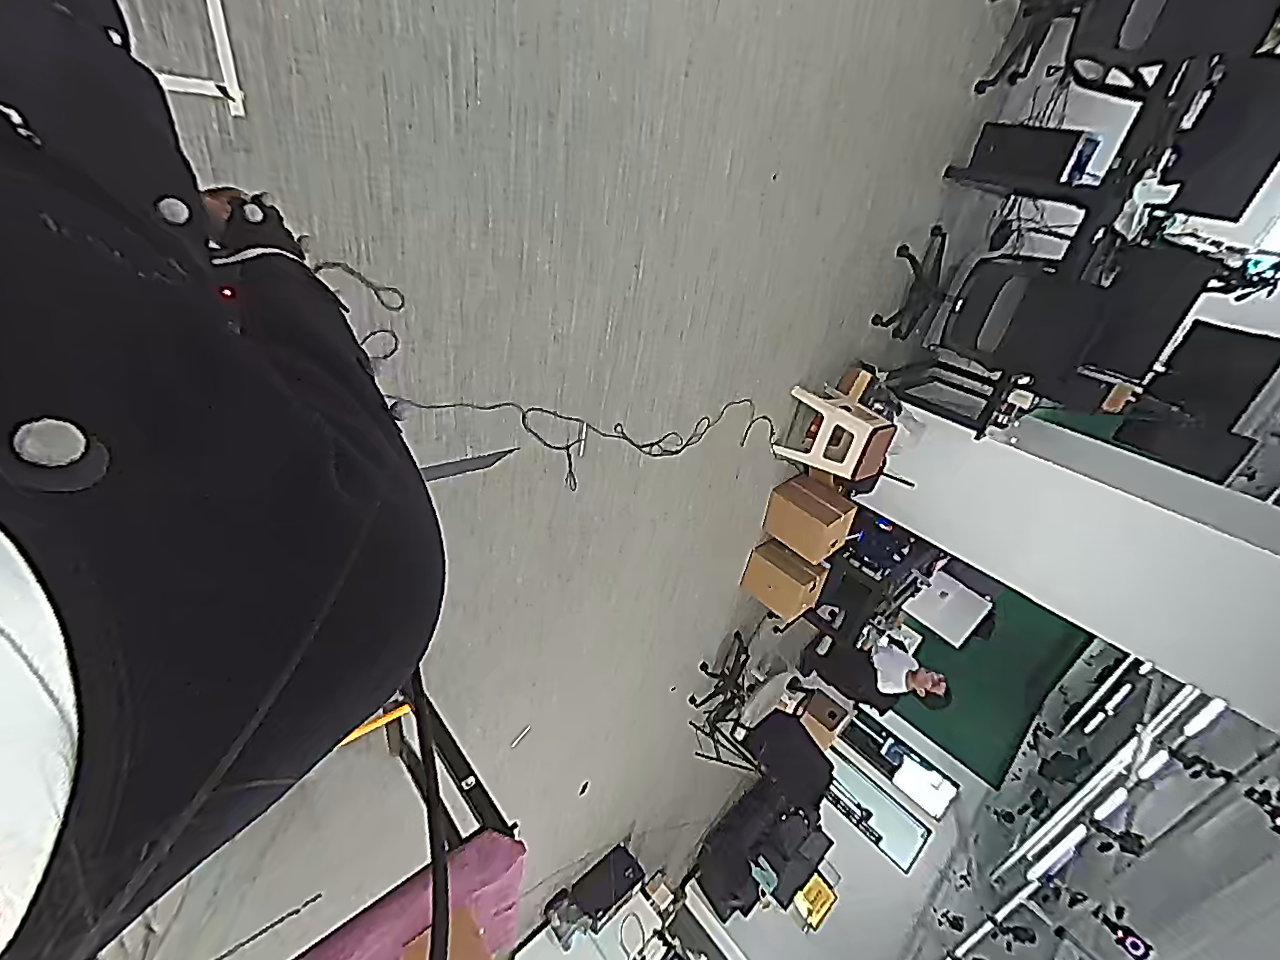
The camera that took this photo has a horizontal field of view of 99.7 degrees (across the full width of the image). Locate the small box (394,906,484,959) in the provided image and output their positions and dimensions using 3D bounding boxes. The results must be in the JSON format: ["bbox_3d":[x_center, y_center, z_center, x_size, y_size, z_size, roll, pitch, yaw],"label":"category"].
[{"bbox_3d":[-0.493,1.218,1.333,0.179,0.176,0.168,-19,131,-37],"label":"small box"}]
